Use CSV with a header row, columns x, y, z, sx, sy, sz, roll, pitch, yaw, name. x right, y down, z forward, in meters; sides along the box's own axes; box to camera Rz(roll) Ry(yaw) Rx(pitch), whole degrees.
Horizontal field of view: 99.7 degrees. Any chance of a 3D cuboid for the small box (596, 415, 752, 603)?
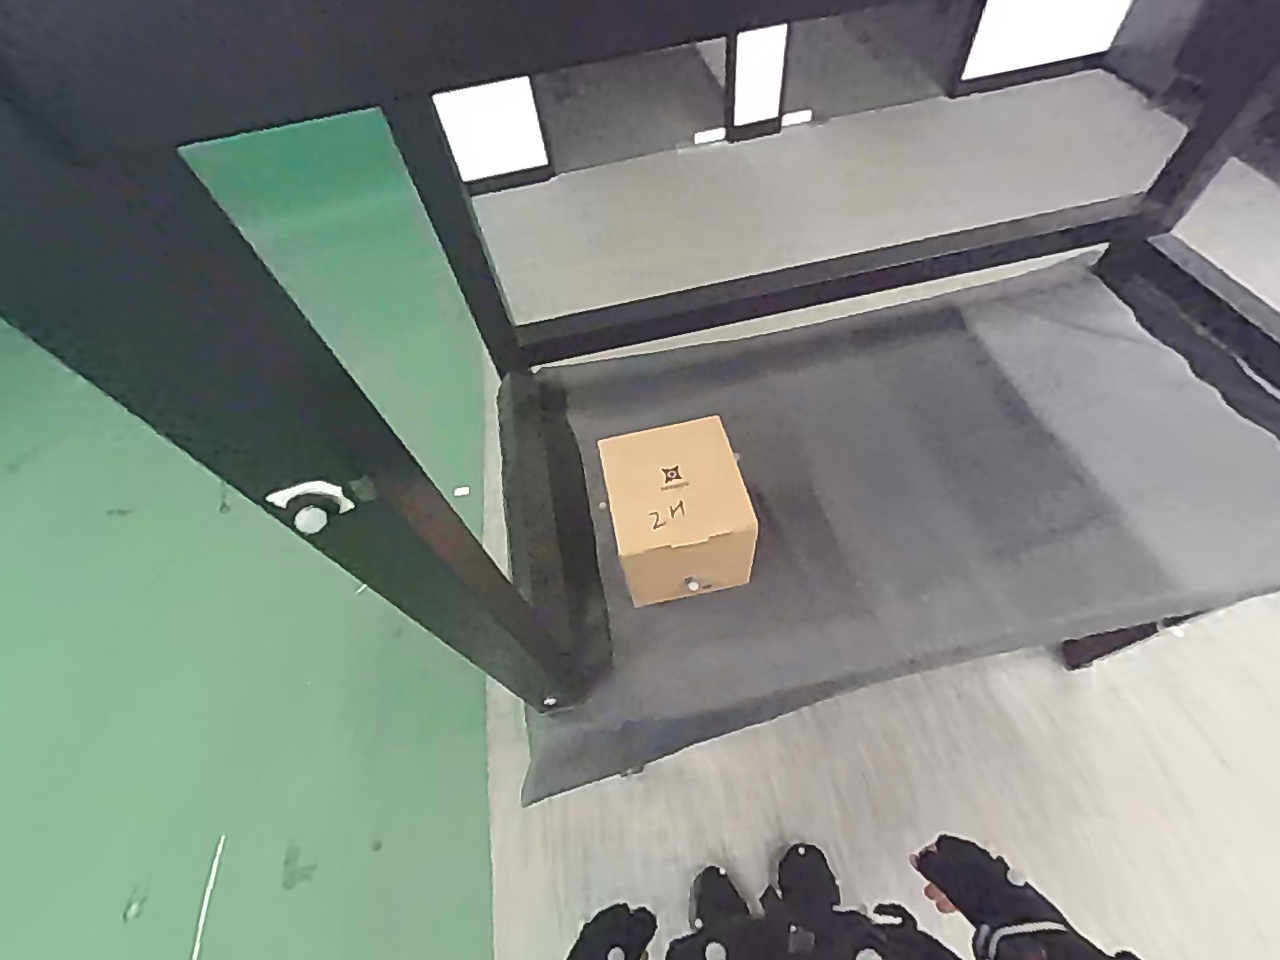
x,y,z,sx,sy,sz,roll,pitch,yaw,name
0.043,0.043,0.731,0.168,0.176,0.179,-13,56,-1,small box
